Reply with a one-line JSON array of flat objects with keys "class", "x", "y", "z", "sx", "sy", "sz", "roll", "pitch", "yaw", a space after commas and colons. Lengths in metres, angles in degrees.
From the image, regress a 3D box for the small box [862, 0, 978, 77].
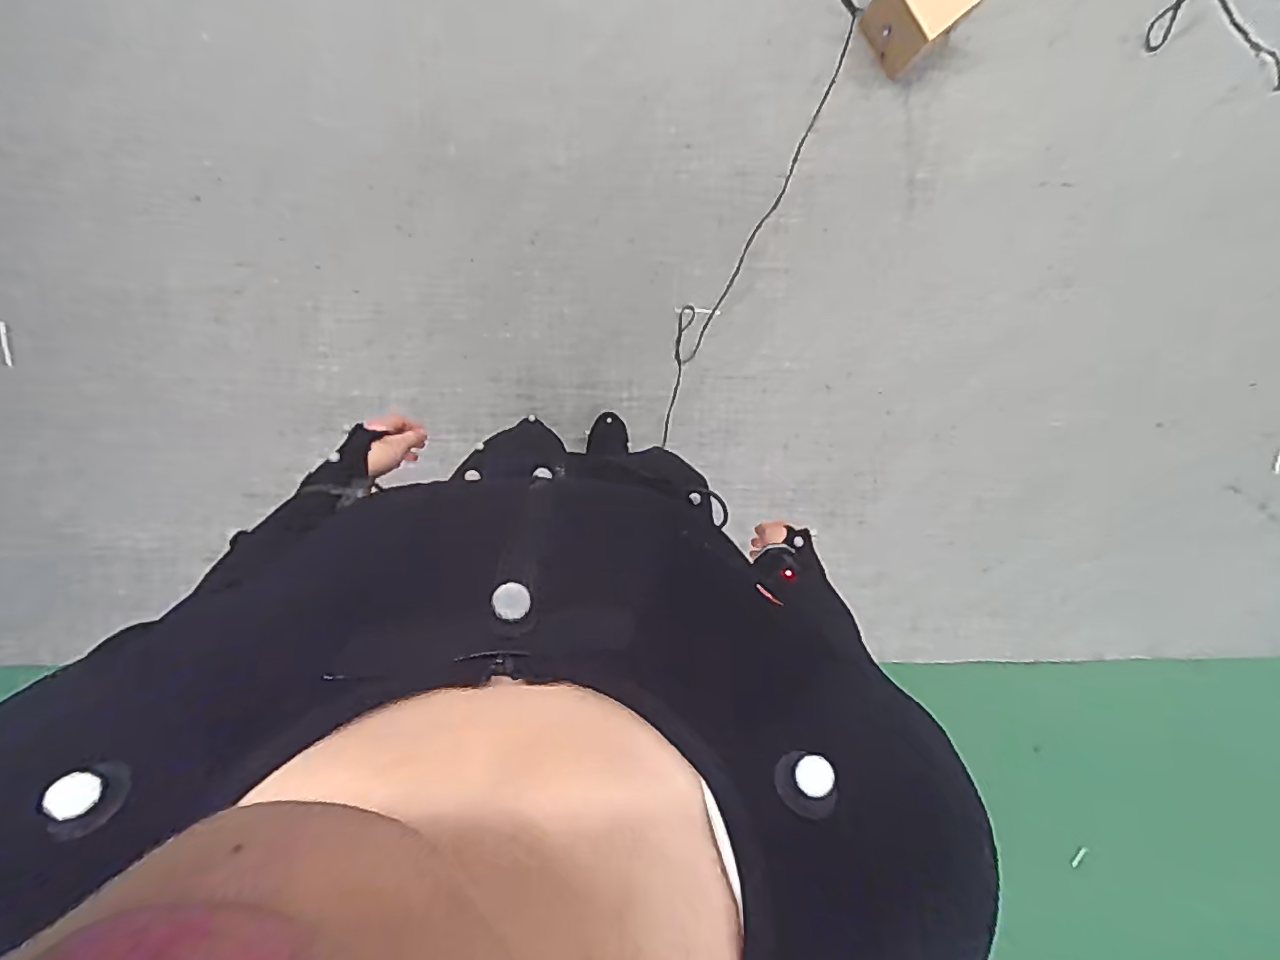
[{"class": "small box", "x": 0.639, "y": -1.086, "z": 1.239, "sx": 0.179, "sy": 0.176, "sz": 0.168, "roll": -38, "pitch": 99, "yaw": 4}]
